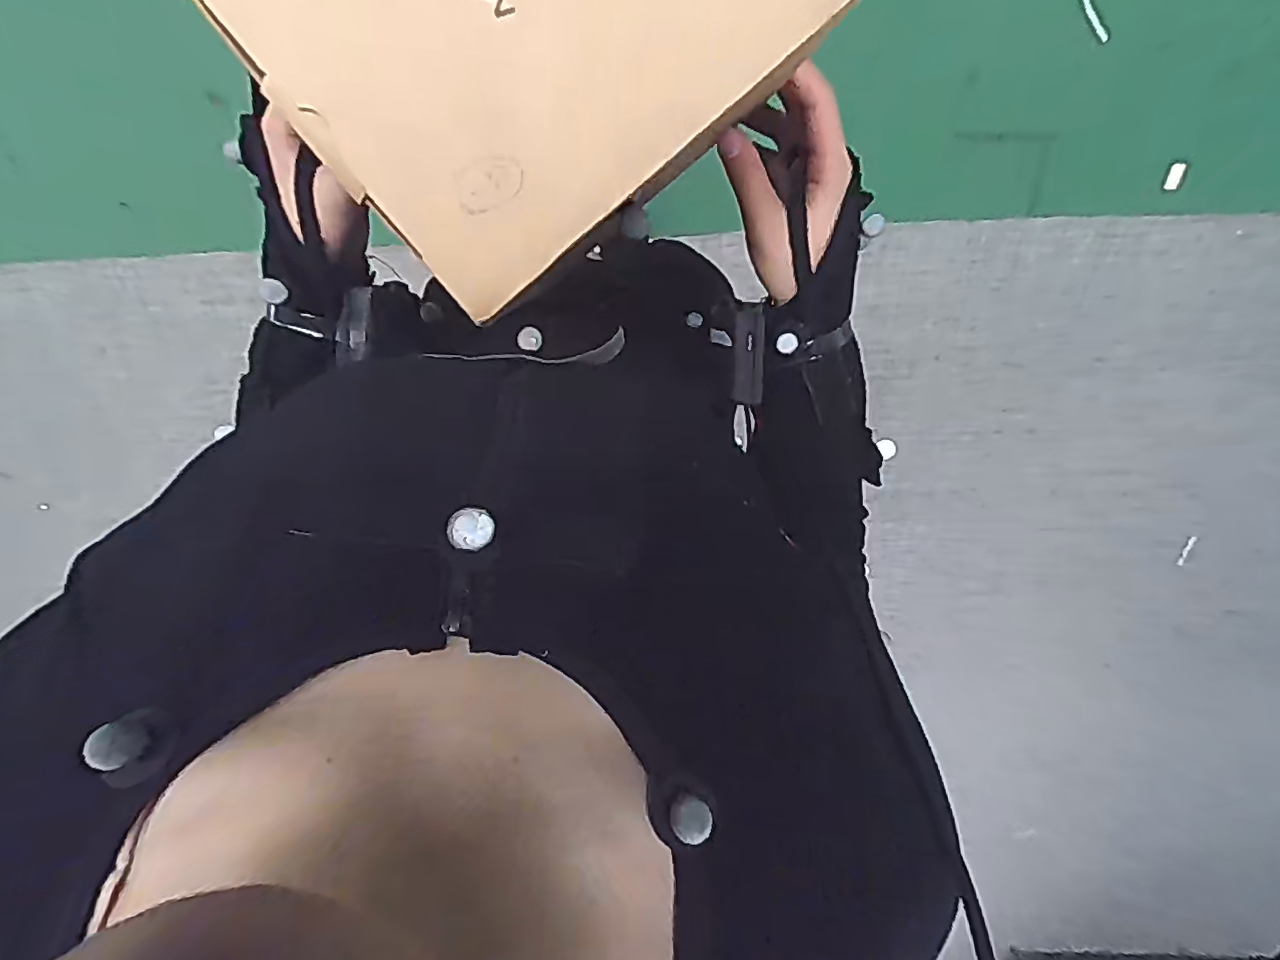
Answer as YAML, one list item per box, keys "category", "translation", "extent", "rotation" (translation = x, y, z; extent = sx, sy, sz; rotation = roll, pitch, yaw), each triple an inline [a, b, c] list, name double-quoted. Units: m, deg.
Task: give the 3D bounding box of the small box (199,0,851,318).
- category: "small box"
  translation: [-0.042, -0.201, 0.240]
  extent: [0.179, 0.176, 0.168]
  rotation: [-34, 110, 17]
